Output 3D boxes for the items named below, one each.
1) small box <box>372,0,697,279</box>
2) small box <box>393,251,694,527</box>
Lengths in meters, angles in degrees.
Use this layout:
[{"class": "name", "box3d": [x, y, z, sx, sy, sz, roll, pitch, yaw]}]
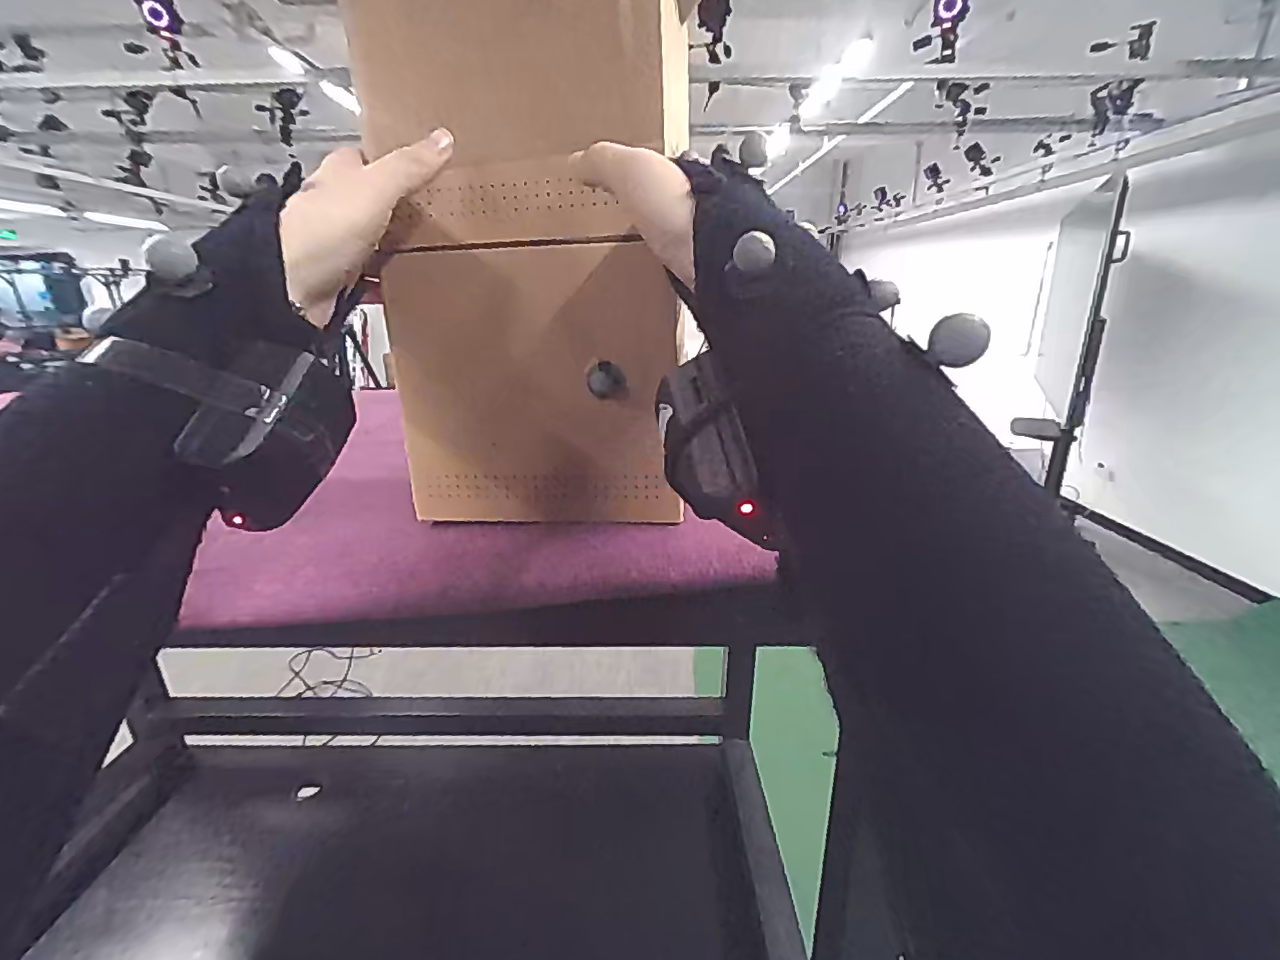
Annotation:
[{"class": "small box", "box3d": [-0.054, -0.226, 0.367, 0.179, 0.176, 0.168, 1, 16, 9]}, {"class": "small box", "box3d": [-0.049, -0.068, 0.404, 0.179, 0.176, 0.168, -1, 15, 6]}]
